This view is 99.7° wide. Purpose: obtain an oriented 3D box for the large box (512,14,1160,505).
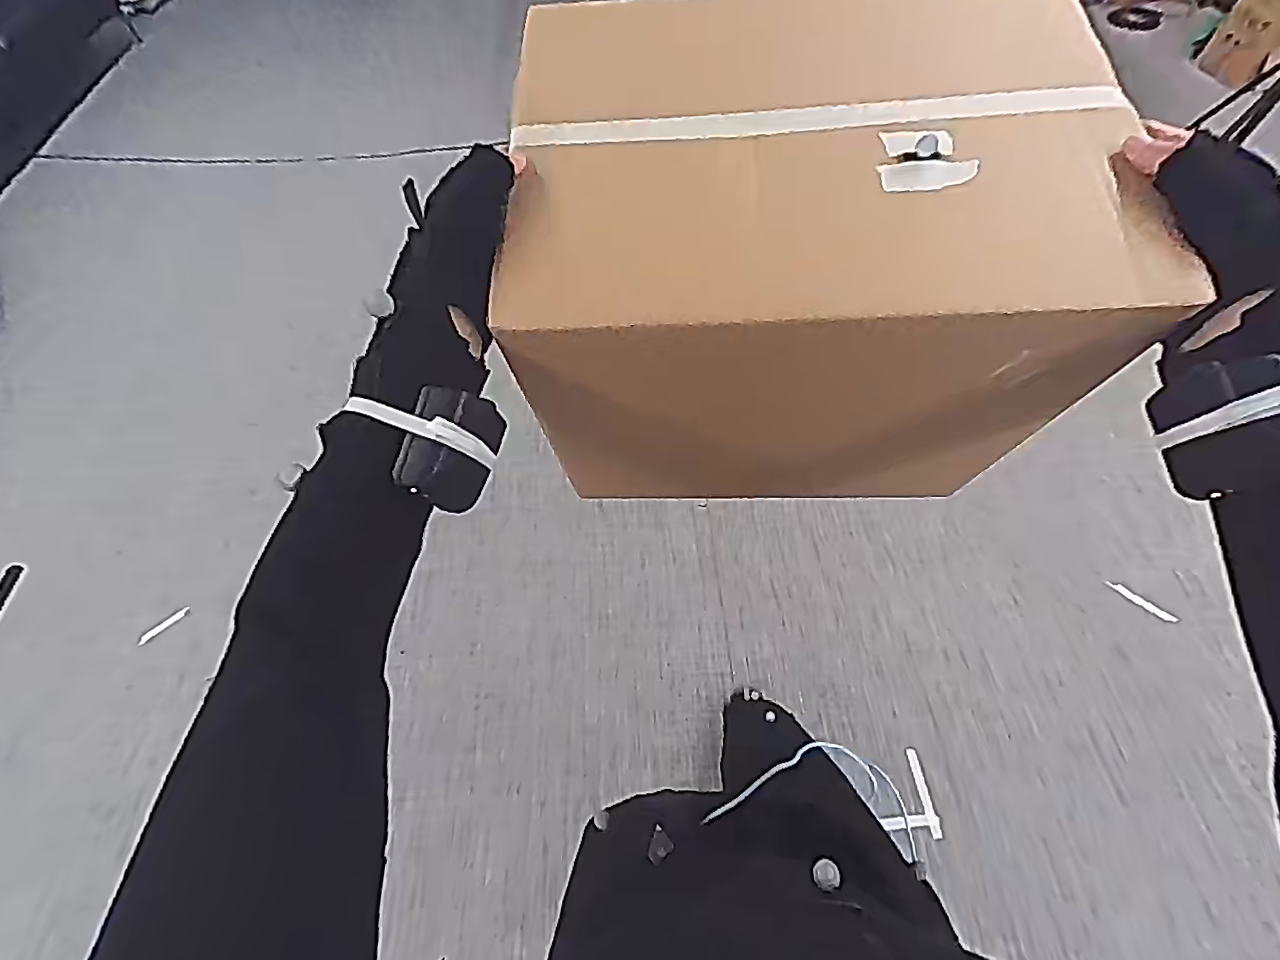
[{"bbox_3d":[0.122,-0.173,0.526,0.408,0.320,0.320,-1,69,4],"label":"large box"}]
